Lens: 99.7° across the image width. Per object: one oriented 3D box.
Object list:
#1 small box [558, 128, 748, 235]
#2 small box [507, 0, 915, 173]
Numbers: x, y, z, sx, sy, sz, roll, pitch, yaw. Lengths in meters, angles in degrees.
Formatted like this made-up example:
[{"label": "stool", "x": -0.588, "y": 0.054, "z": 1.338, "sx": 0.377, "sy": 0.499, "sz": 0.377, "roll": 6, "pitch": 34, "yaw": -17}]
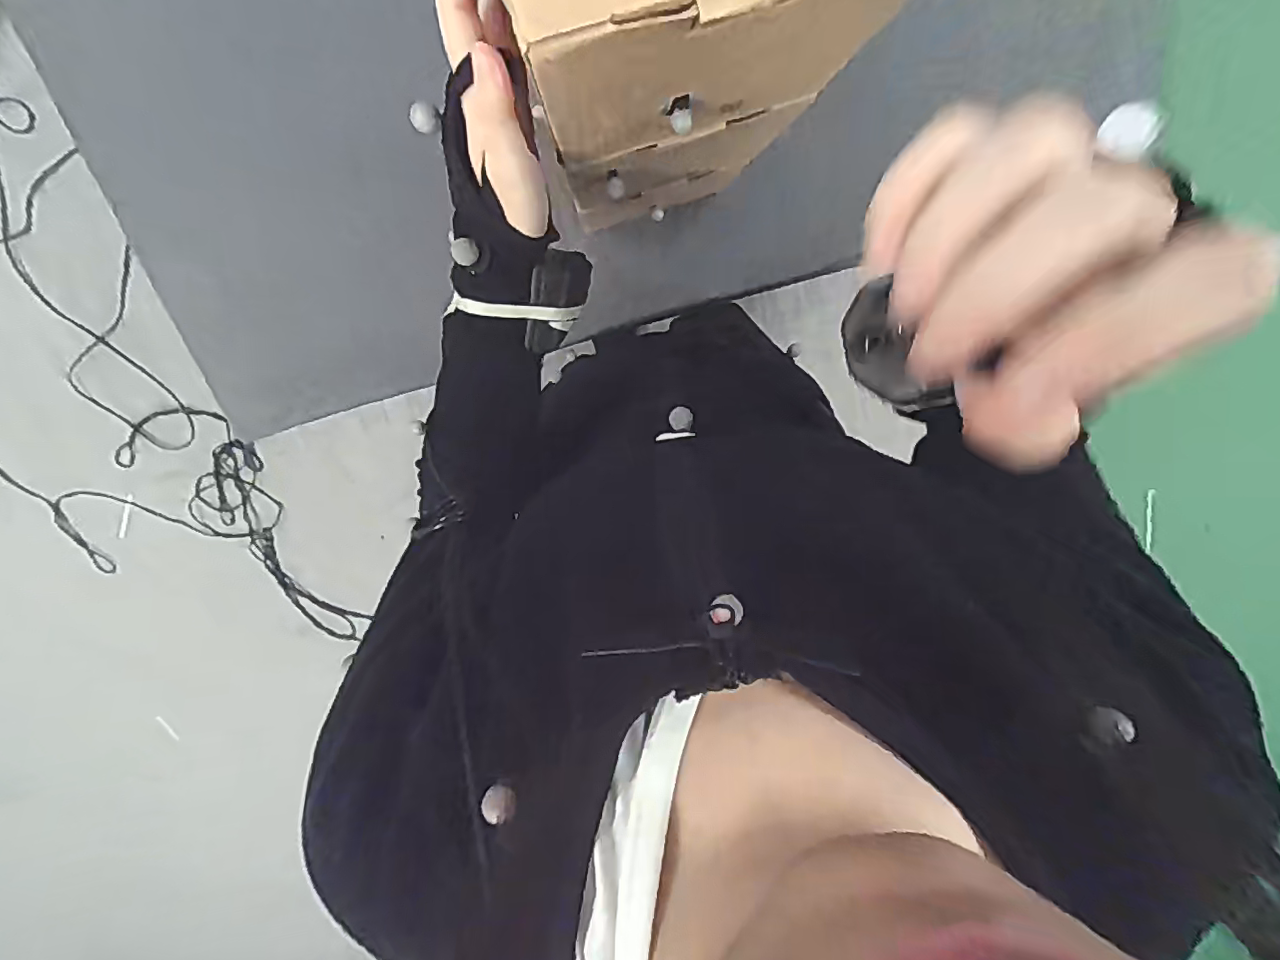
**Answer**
[{"label": "small box", "x": -0.006, "y": -0.368, "z": 0.547, "sx": 0.168, "sy": 0.176, "sz": 0.179, "roll": -16, "pitch": 109, "yaw": 3}, {"label": "small box", "x": 0.012, "y": -0.267, "z": 0.237, "sx": 0.168, "sy": 0.176, "sz": 0.179, "roll": -17, "pitch": 109, "yaw": 2}]
